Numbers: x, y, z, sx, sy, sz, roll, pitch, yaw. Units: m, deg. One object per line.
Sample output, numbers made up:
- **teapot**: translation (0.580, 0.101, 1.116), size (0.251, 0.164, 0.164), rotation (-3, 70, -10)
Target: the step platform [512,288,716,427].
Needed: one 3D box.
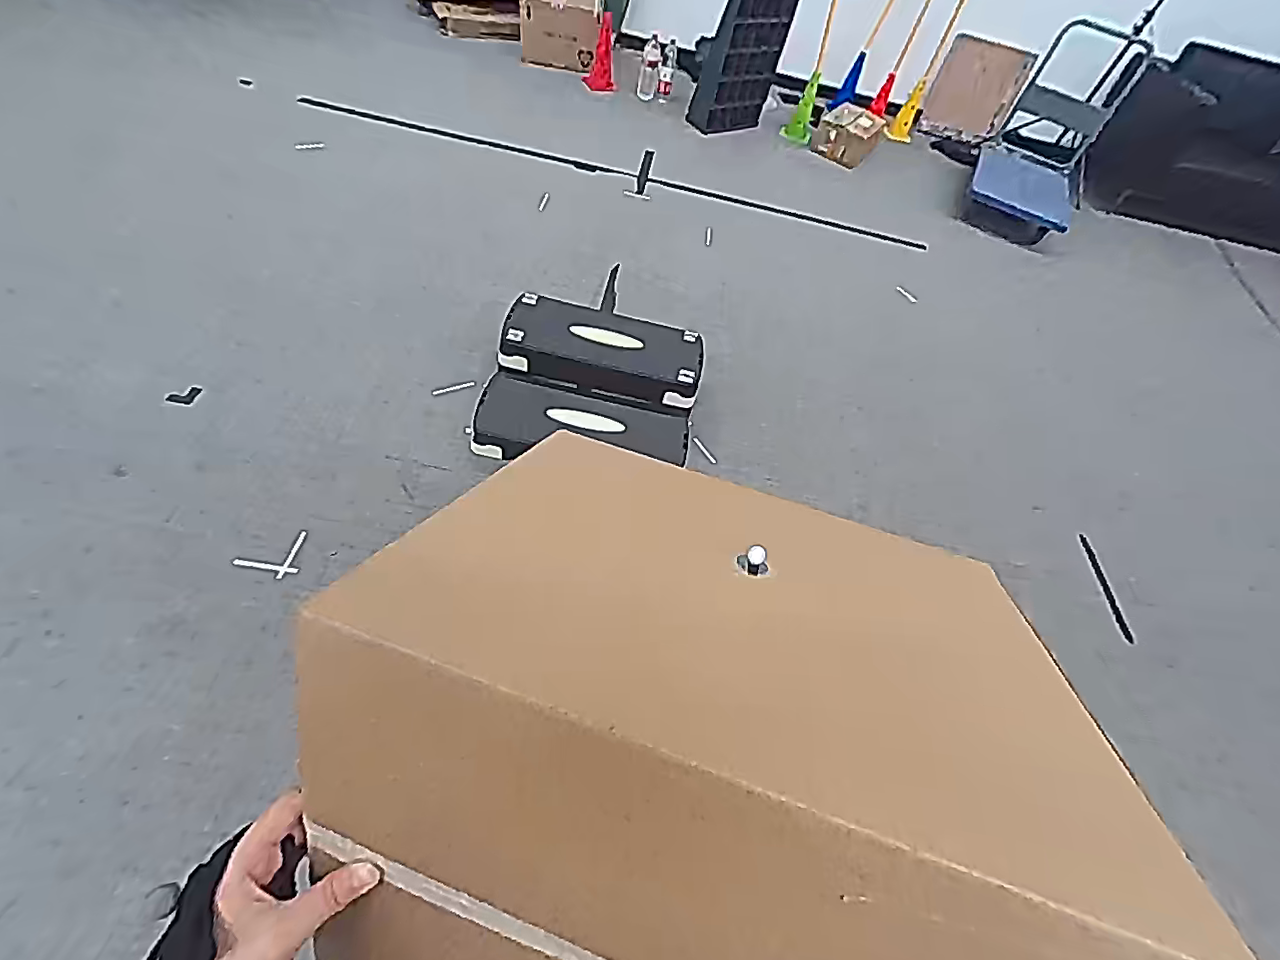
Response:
- **step platform**: translation (-0.084, -0.425, 1.858), size (0.684, 0.204, 0.286), rotation (17, 53, -1)

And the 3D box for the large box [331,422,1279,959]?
- **large box**: translation (0.053, 0.179, 0.407), size (0.408, 0.320, 0.320), rotation (17, 25, 9)
